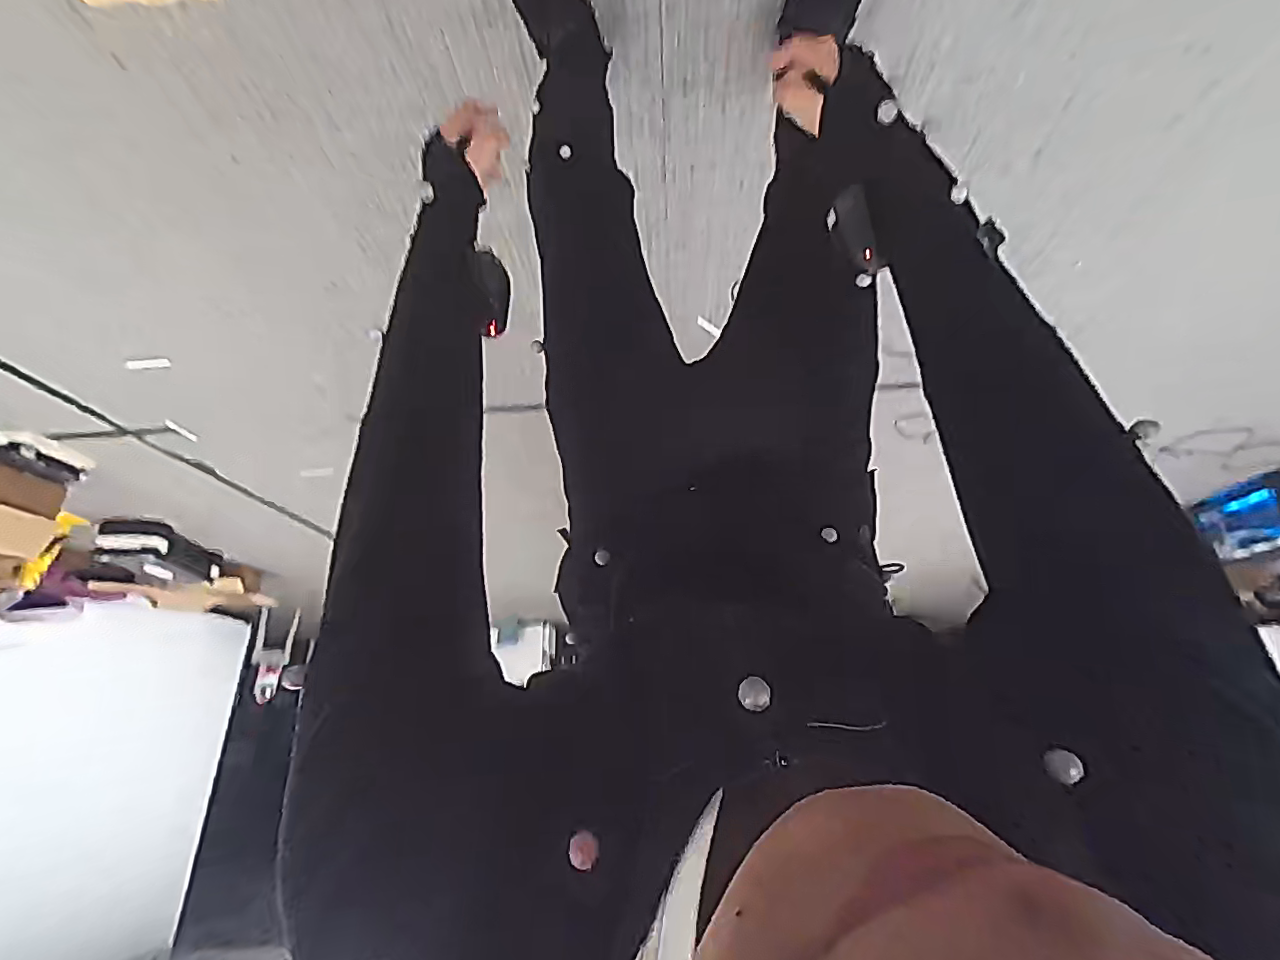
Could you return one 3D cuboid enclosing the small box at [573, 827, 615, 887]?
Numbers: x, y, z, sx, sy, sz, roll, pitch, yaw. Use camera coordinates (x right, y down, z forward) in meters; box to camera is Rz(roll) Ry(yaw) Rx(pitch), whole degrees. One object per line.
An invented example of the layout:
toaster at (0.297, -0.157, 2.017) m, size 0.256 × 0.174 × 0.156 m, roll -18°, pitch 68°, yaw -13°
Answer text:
small box at (-0.192, 1.577, 2.269) m, size 0.168 × 0.176 × 0.179 m, roll -3°, pitch 159°, yaw -1°
